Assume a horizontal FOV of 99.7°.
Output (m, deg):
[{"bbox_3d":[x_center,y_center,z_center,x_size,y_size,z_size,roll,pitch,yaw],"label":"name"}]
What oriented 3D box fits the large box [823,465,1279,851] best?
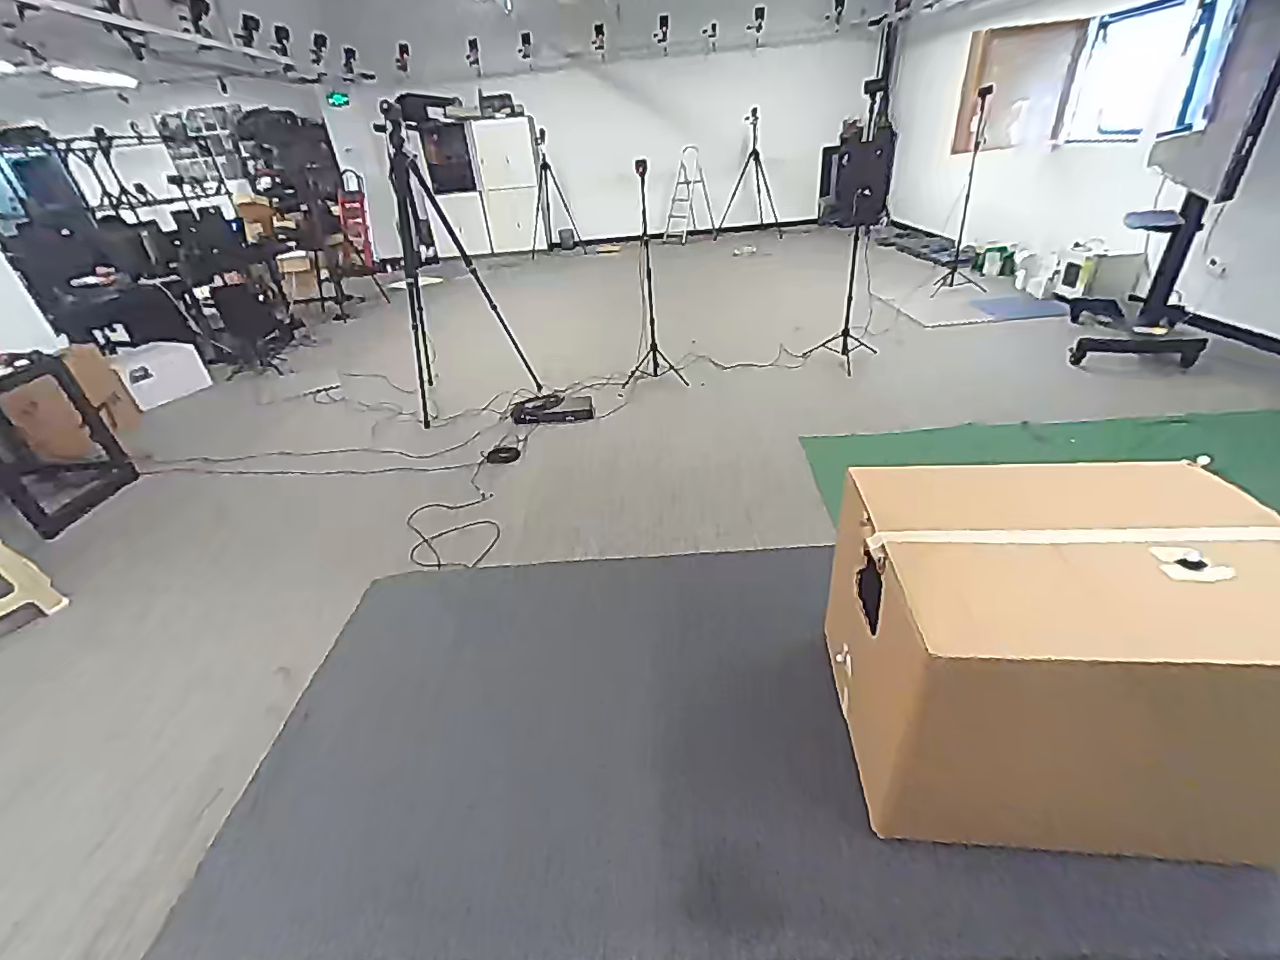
[{"bbox_3d":[0.465,0.190,0.639,0.408,0.320,0.320,0,32,7],"label":"large box"}]
